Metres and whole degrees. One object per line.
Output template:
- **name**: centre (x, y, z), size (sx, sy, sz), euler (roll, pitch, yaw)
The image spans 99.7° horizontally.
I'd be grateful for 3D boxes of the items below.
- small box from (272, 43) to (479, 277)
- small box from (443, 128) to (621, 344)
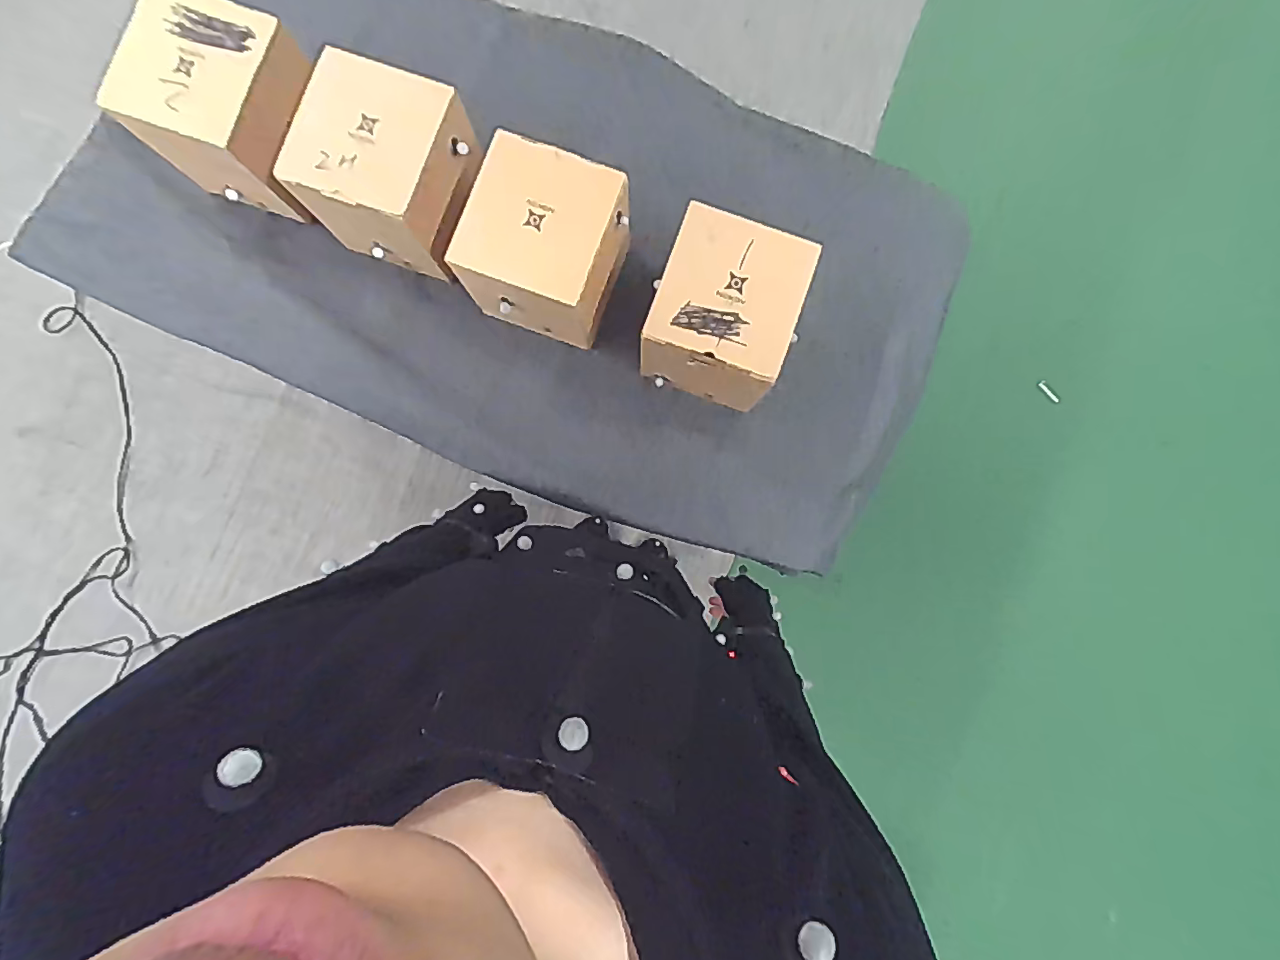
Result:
- **small box**: centre (-0.325, -0.404, 0.711), size (0.168, 0.176, 0.179), euler (19, 86, 1)
- **small box**: centre (-0.125, -0.302, 0.709), size (0.168, 0.176, 0.179), euler (20, 85, 1)
